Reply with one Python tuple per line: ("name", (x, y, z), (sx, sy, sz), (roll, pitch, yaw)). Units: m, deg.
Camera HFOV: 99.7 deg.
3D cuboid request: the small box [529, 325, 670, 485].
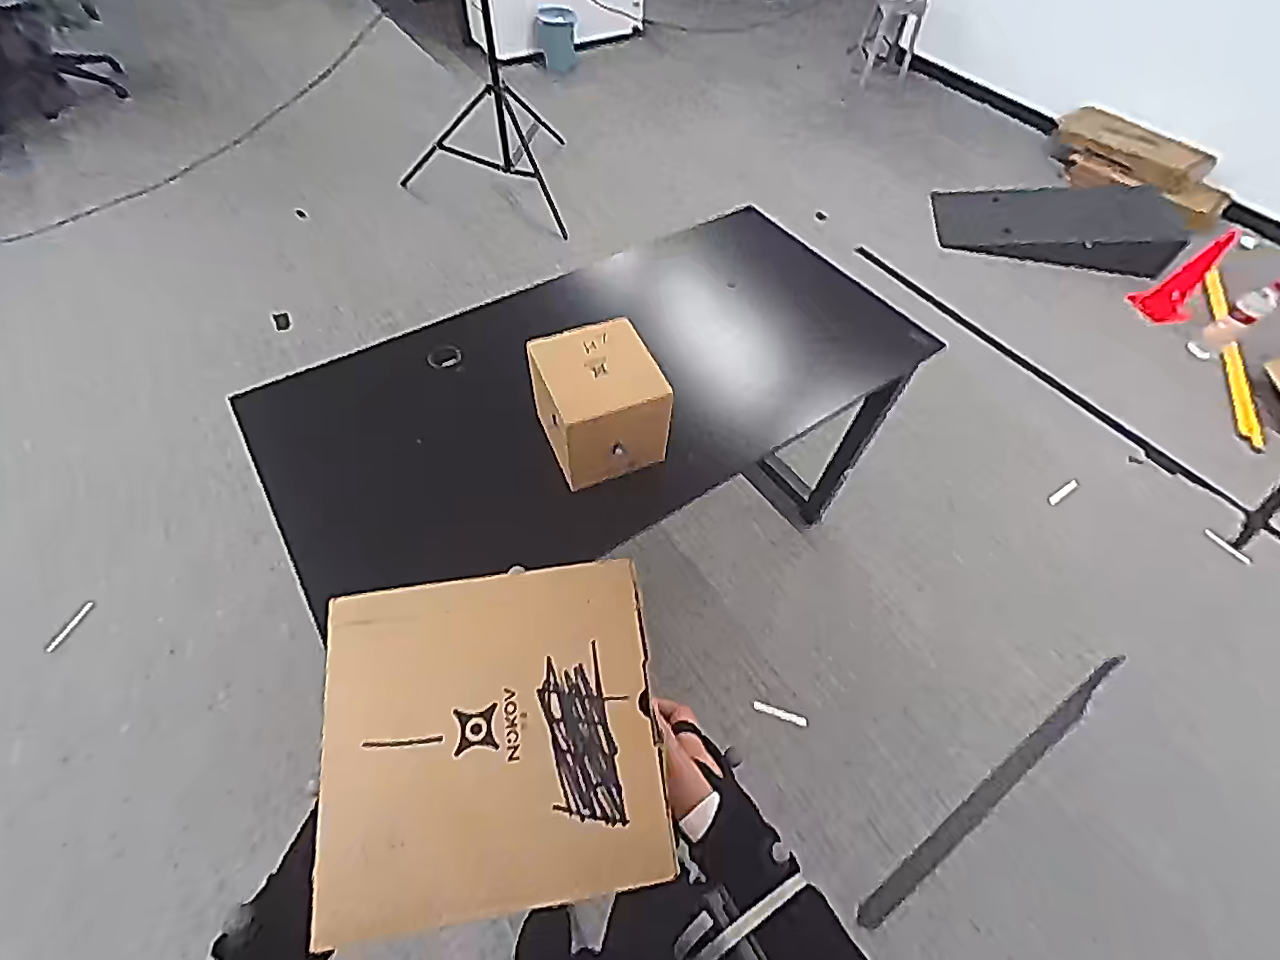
("small box", (-0.065, -0.111, 0.863), (0.168, 0.176, 0.179), (-19, 58, -16))
